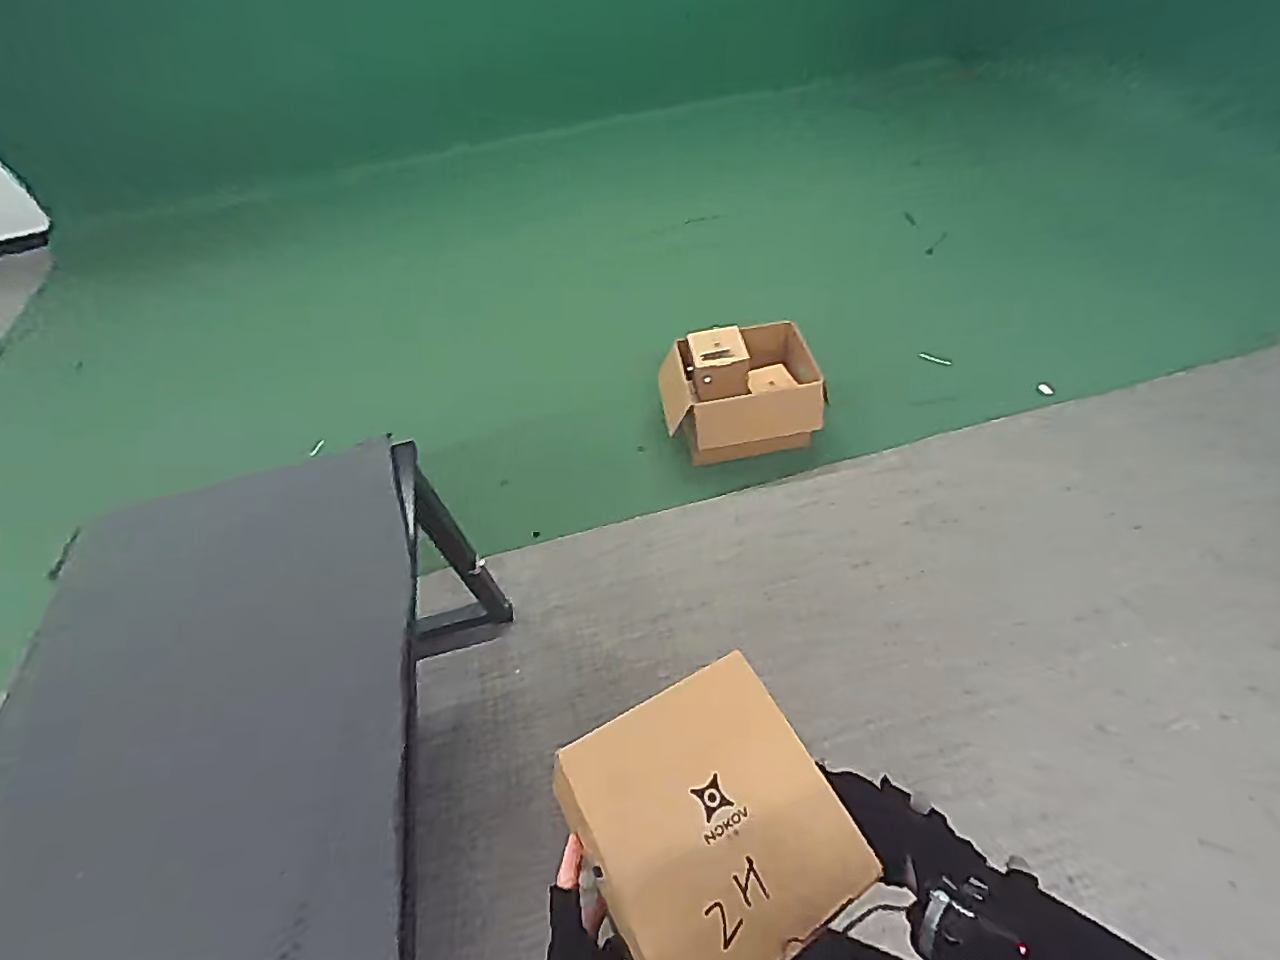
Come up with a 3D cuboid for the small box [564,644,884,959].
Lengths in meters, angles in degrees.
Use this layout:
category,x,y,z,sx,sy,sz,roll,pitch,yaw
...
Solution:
category,x,y,z,sx,sy,sz,roll,pitch,yaw
small box,0.044,0.269,0.438,0.168,0.176,0.179,-20,59,-22
